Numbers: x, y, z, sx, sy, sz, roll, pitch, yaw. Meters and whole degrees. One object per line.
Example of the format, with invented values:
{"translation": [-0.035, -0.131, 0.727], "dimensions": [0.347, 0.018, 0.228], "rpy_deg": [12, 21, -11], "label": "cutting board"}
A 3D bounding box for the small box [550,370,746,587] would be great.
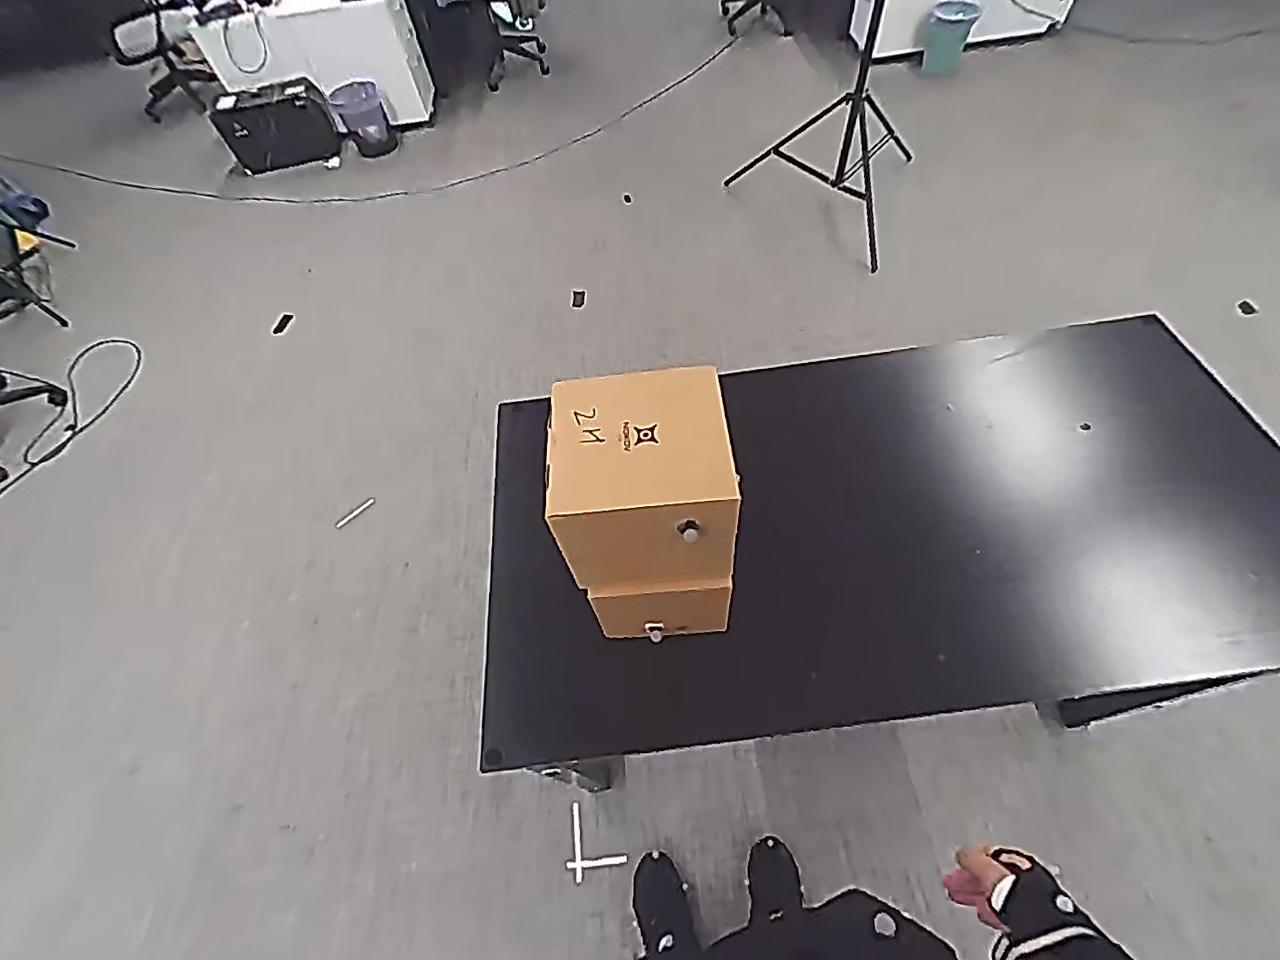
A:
{"translation": [0.010, 0.005, 0.584], "dimensions": [0.179, 0.176, 0.168], "rpy_deg": [-6, 56, 3], "label": "small box"}

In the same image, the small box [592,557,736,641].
{"translation": [0.031, 0.100, 0.718], "dimensions": [0.168, 0.176, 0.179], "rpy_deg": [-6, 58, 3], "label": "small box"}
